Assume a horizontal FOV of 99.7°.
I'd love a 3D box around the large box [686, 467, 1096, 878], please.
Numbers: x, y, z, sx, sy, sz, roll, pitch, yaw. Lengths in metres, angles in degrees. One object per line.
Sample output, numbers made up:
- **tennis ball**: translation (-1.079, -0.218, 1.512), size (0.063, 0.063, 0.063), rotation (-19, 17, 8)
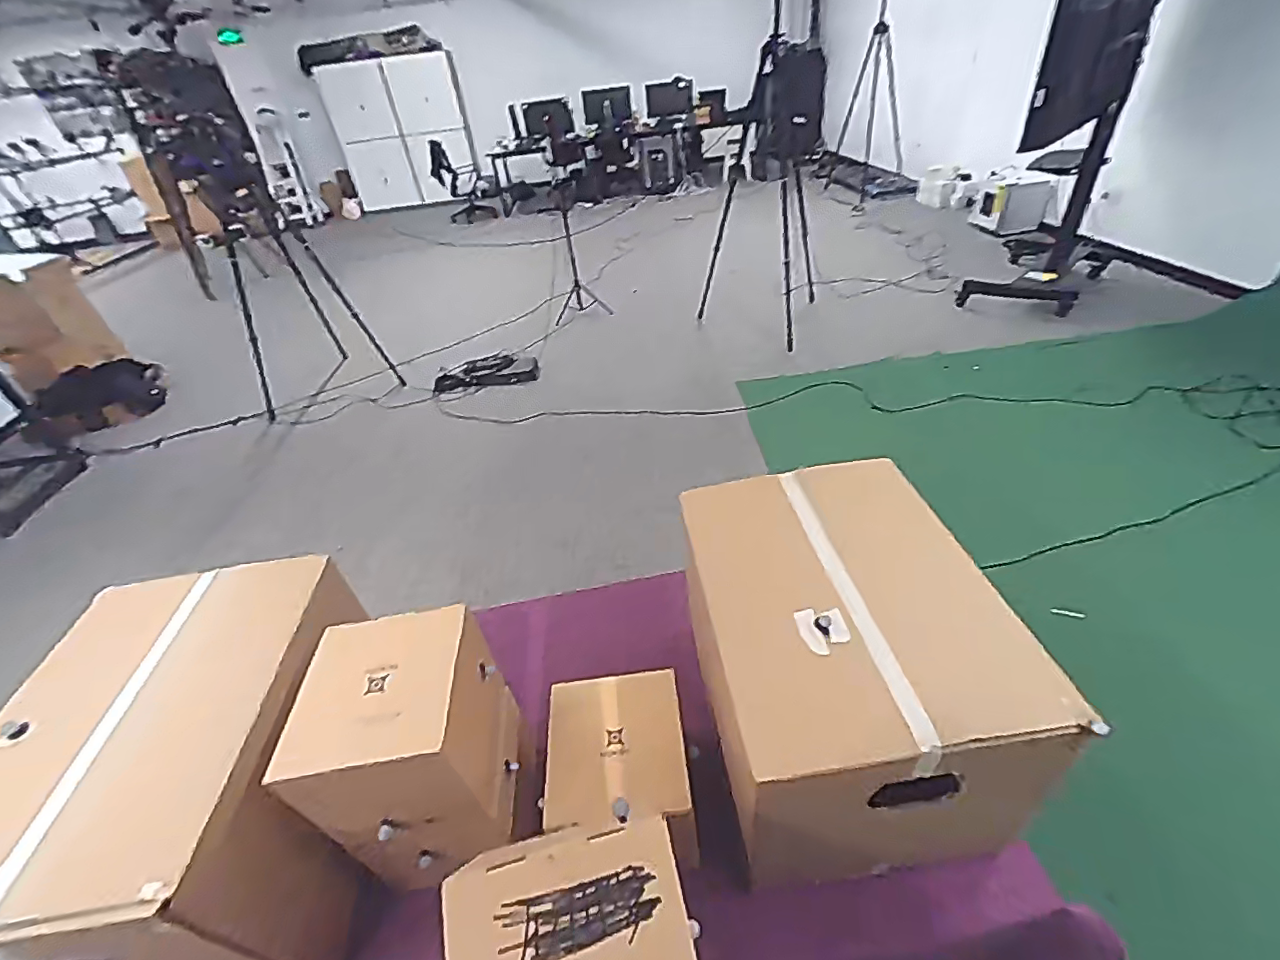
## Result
- **large box**: translation (0.252, 0.236, 0.729), size (0.320, 0.320, 0.408), rotation (-8, 39, -1)
